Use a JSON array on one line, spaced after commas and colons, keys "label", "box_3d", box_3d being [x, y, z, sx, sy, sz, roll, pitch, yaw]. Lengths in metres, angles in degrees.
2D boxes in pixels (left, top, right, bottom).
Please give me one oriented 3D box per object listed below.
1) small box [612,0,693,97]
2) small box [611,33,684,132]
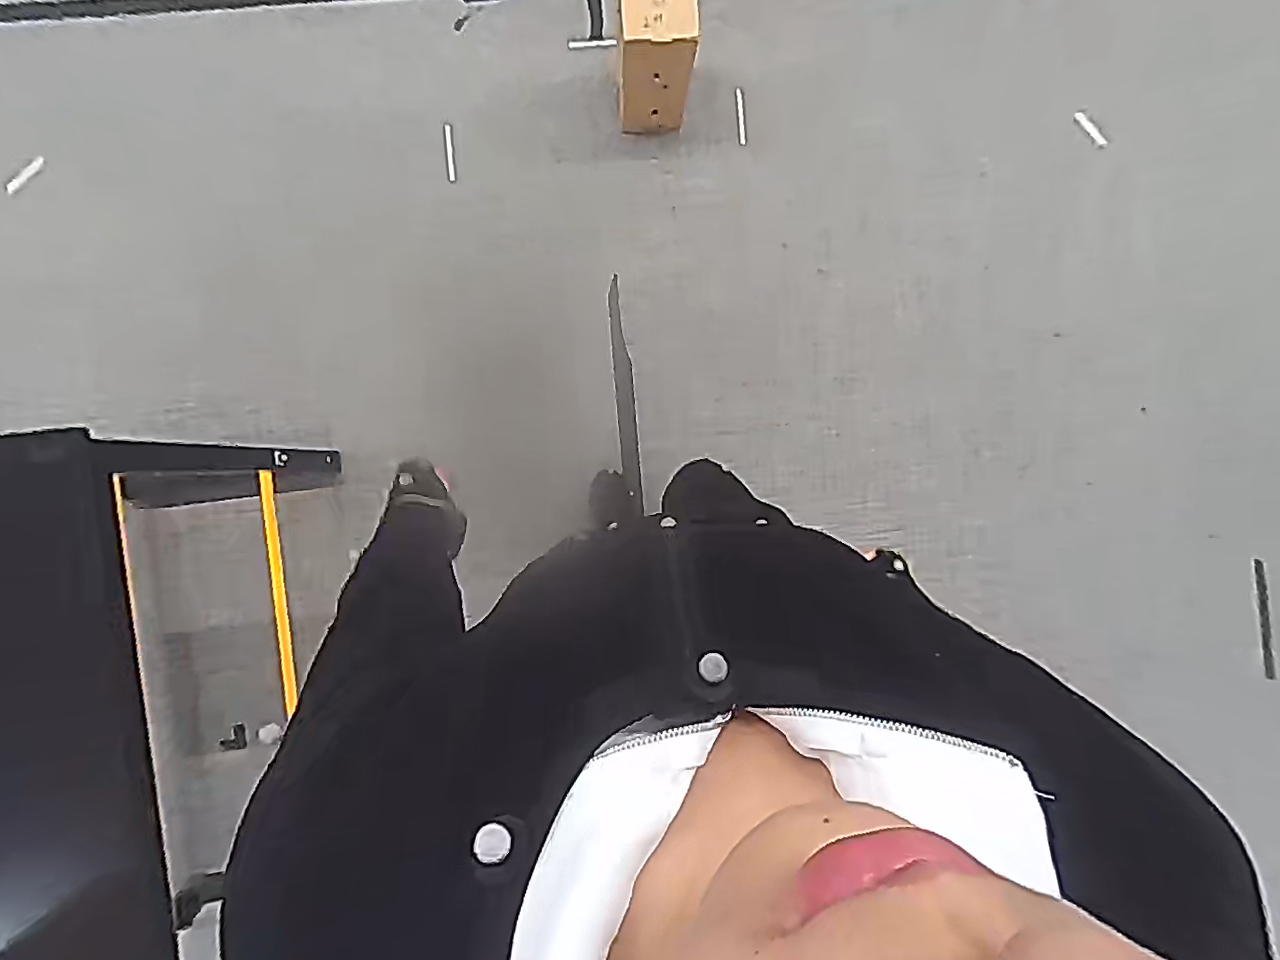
[{"label": "small box", "box_3d": [0.023, -1.021, 1.235, 0.168, 0.176, 0.179, -5, 92, -3]}, {"label": "small box", "box_3d": [0.017, -1.032, 1.401, 0.168, 0.176, 0.179, -6, 92, -3]}]
